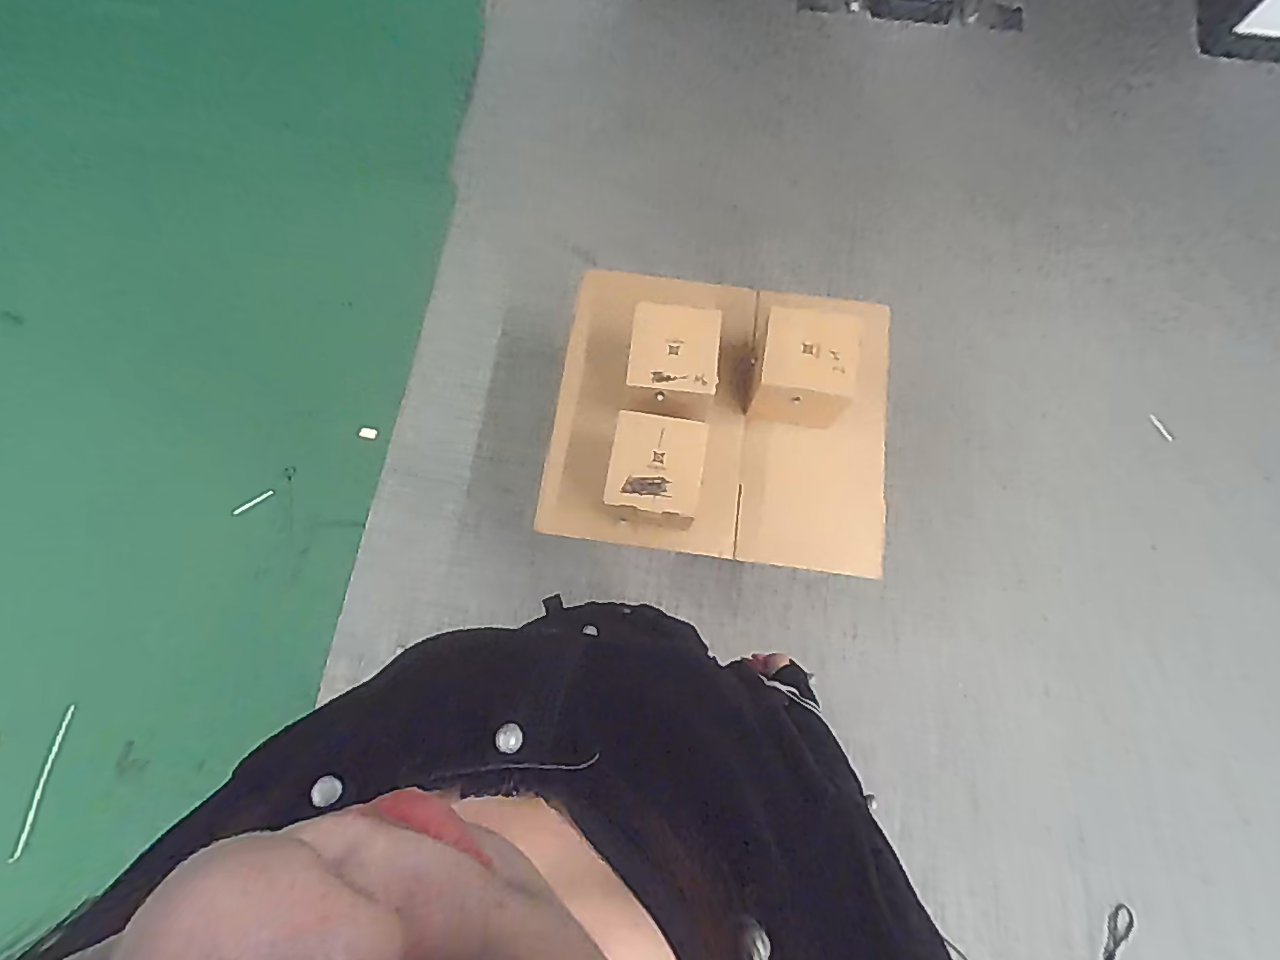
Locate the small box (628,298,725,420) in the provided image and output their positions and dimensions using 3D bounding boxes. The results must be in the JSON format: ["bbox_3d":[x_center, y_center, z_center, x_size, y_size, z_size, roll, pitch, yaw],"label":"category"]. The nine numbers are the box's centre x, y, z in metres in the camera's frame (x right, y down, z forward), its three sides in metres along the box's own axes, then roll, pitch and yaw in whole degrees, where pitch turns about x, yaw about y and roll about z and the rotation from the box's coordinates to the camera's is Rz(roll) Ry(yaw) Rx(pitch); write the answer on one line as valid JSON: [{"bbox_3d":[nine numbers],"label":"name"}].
[{"bbox_3d":[0.070,-0.230,1.073,0.168,0.176,0.179,7,75,3],"label":"small box"}]

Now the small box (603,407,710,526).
[{"bbox_3d":[0.033,-0.017,1.023,0.168,0.176,0.179,9,76,3],"label":"small box"}]

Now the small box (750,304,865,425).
[{"bbox_3d":[0.323,-0.221,1.071,0.179,0.176,0.168,11,77,4],"label":"small box"}]
